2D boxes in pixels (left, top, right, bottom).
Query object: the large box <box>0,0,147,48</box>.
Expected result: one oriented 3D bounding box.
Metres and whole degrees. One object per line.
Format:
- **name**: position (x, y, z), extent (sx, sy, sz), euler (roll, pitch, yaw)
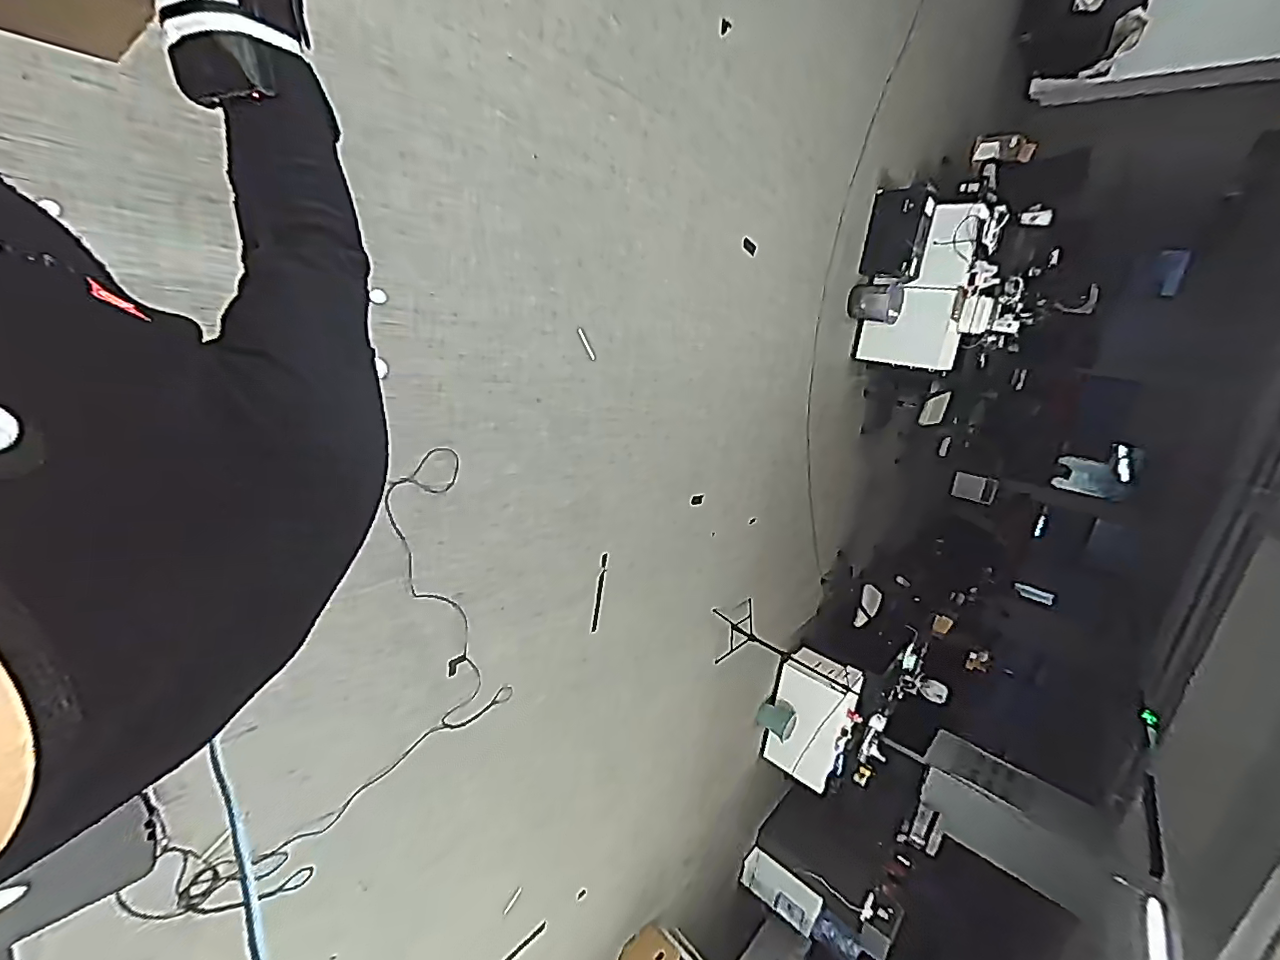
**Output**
- **large box**: position (-0.515, -0.479, 0.241), extent (0.408, 0.320, 0.320), euler (-15, 118, -47)
